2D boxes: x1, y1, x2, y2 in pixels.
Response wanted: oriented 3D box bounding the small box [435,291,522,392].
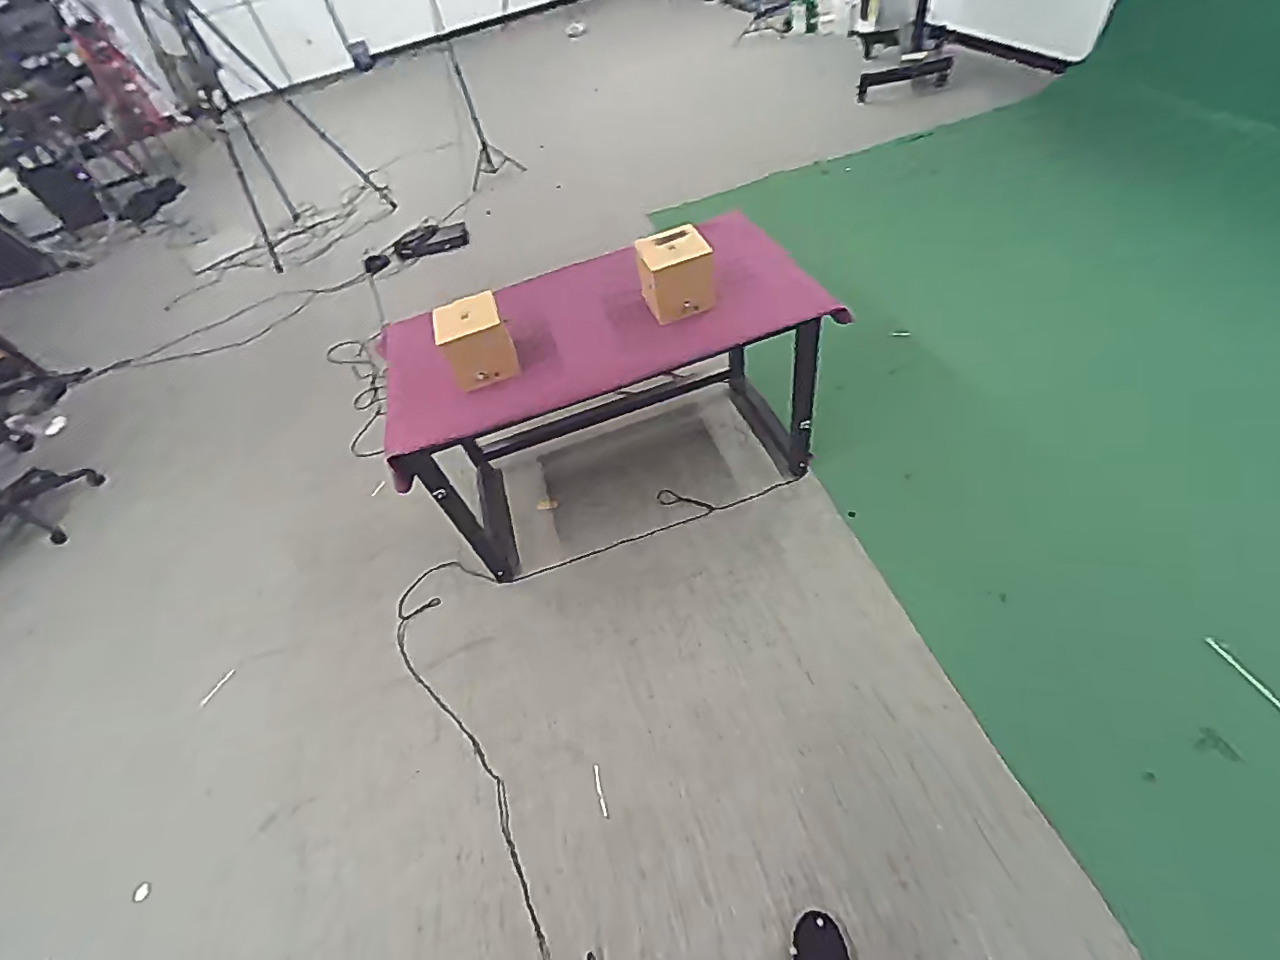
[{"bbox_3d":[-0.426,-0.365,1.431,0.168,0.176,0.179,-19,50,-3],"label":"small box"}]
